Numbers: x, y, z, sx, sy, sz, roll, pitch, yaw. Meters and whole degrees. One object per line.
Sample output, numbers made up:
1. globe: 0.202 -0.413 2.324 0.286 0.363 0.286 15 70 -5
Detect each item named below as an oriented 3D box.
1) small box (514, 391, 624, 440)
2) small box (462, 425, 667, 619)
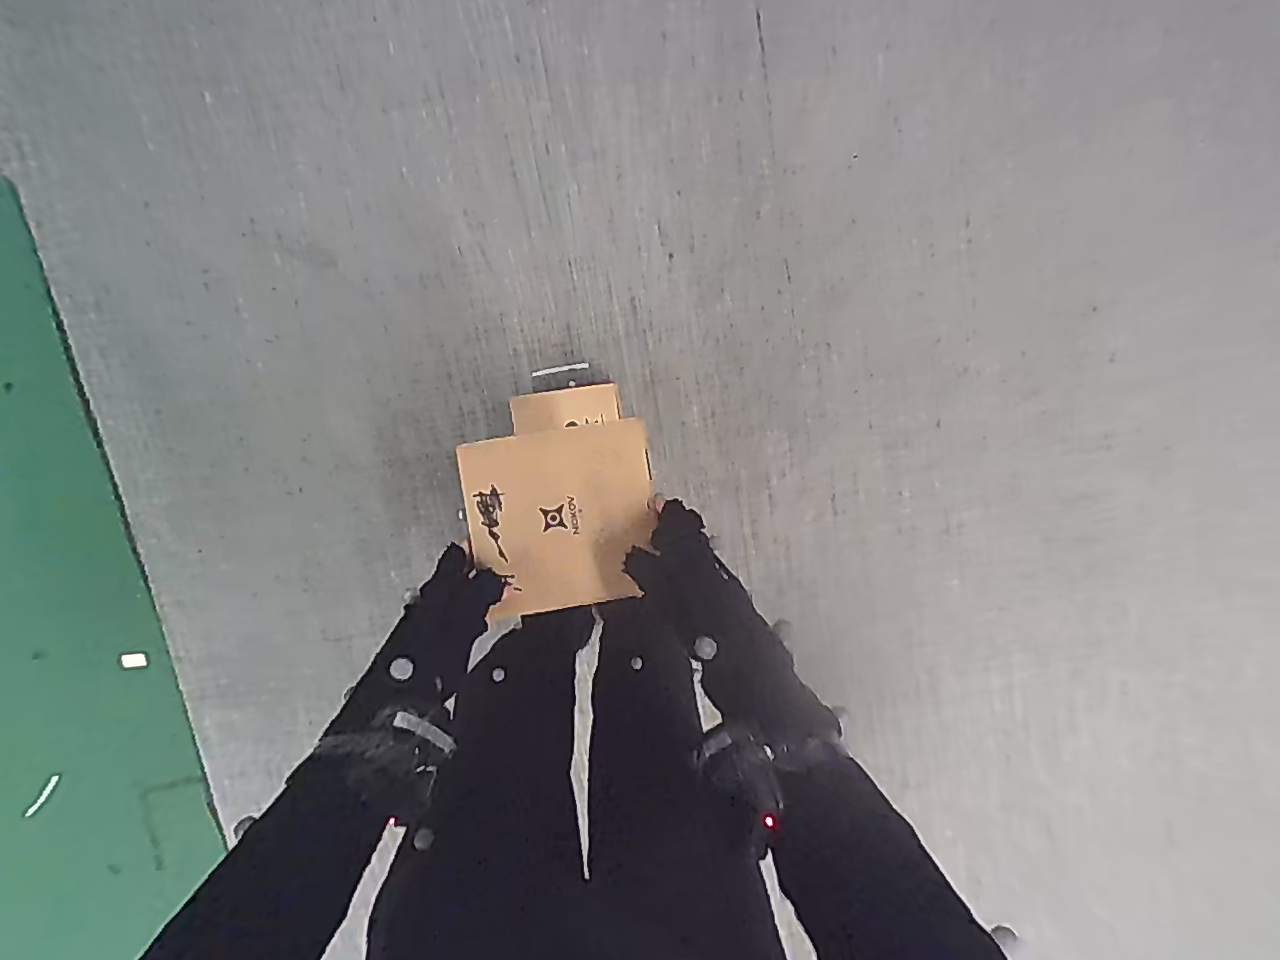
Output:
1. small box: -0.114 -0.070 0.964 0.179 0.176 0.168 -5 97 0
2. small box: -0.075 0.040 0.589 0.179 0.176 0.168 -9 88 -3
